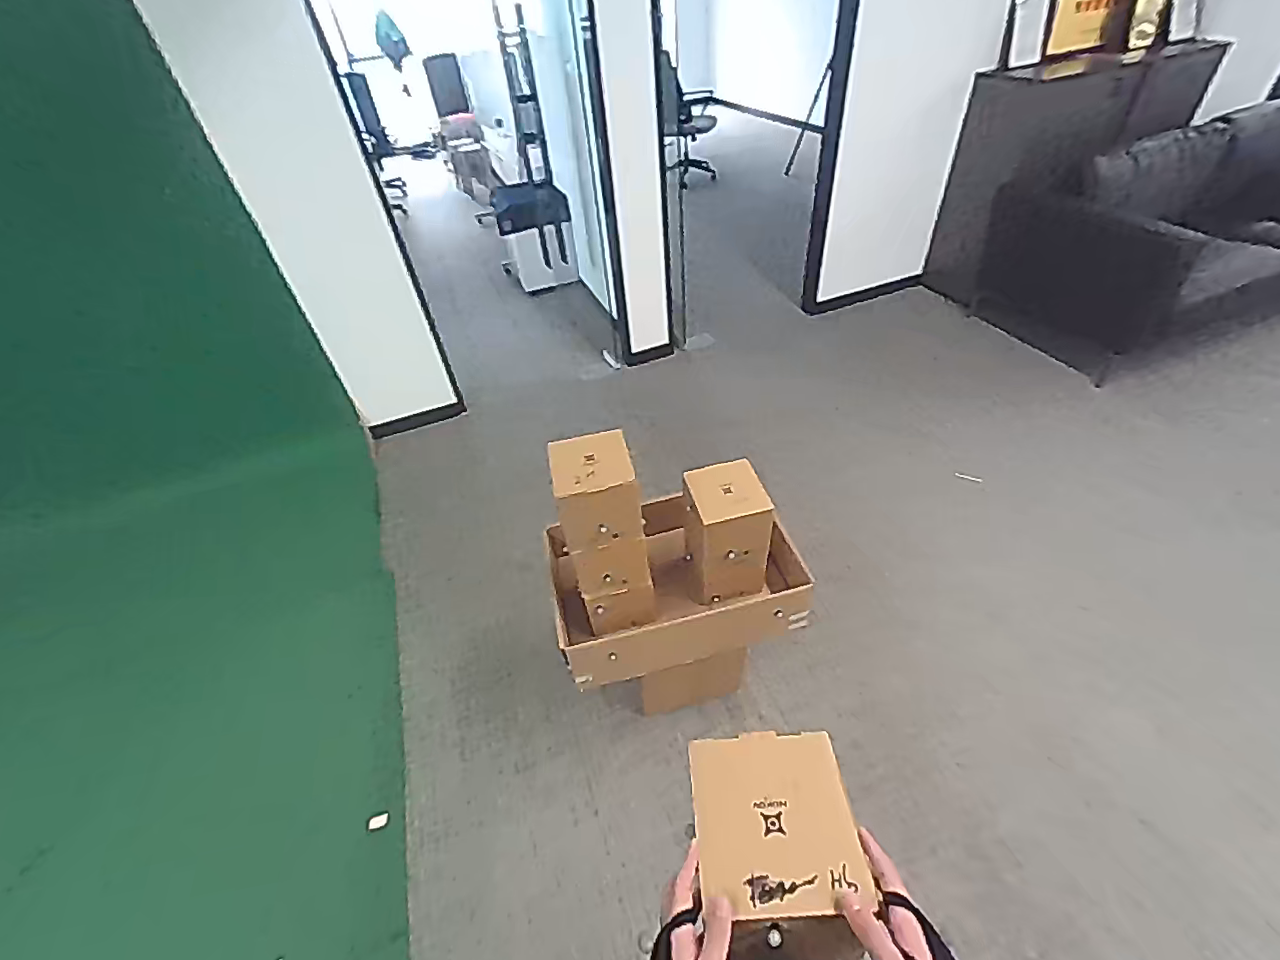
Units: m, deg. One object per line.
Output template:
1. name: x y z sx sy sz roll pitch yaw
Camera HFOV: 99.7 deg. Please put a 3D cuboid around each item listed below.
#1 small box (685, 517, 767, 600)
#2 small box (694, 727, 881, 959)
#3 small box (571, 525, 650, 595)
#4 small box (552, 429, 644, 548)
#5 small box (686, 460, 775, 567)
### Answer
1. small box: 0.222 0.196 1.417 0.168 0.176 0.179 -11 43 -5
2. small box: 0.150 0.409 0.615 0.168 0.176 0.179 -5 36 4
3. small box: -0.076 0.141 1.276 0.168 0.176 0.179 -11 44 -6
4. small box: -0.091 0.019 1.166 0.168 0.176 0.179 -11 44 -4
5. small box: 0.210 0.081 1.302 0.168 0.176 0.179 -12 44 -5
